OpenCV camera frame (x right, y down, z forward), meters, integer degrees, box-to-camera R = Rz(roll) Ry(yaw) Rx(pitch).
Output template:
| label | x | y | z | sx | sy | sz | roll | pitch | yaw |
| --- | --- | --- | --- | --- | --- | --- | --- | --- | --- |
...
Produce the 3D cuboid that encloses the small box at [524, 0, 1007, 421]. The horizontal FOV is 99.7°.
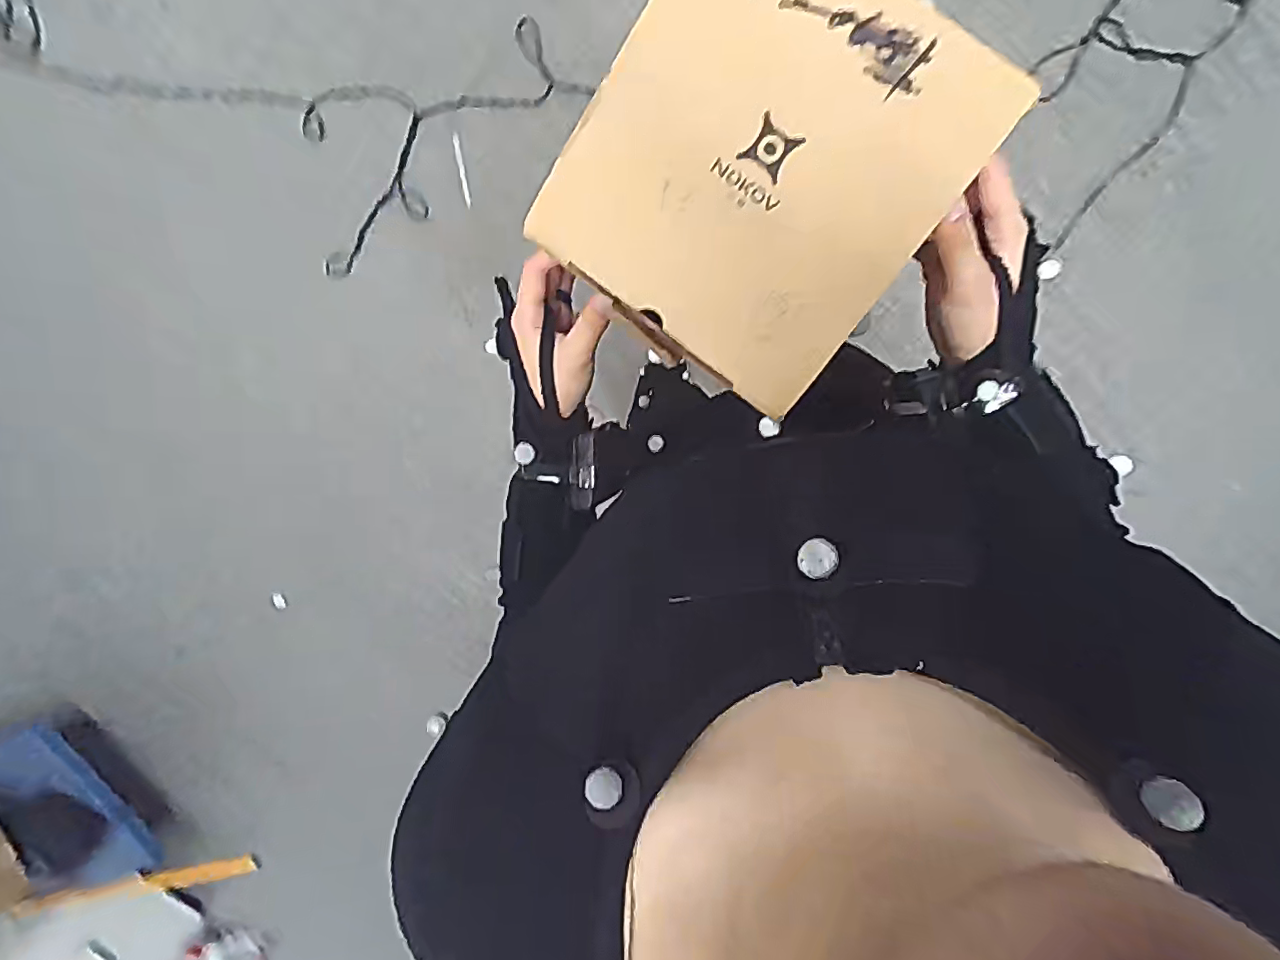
| label | x | y | z | sx | sy | sz | roll | pitch | yaw |
| --- | --- | --- | --- | --- | --- | --- | --- | --- | --- |
| small box | 0.065 | -0.158 | 0.338 | 0.168 | 0.176 | 0.179 | 38 | 105 | 1 |
